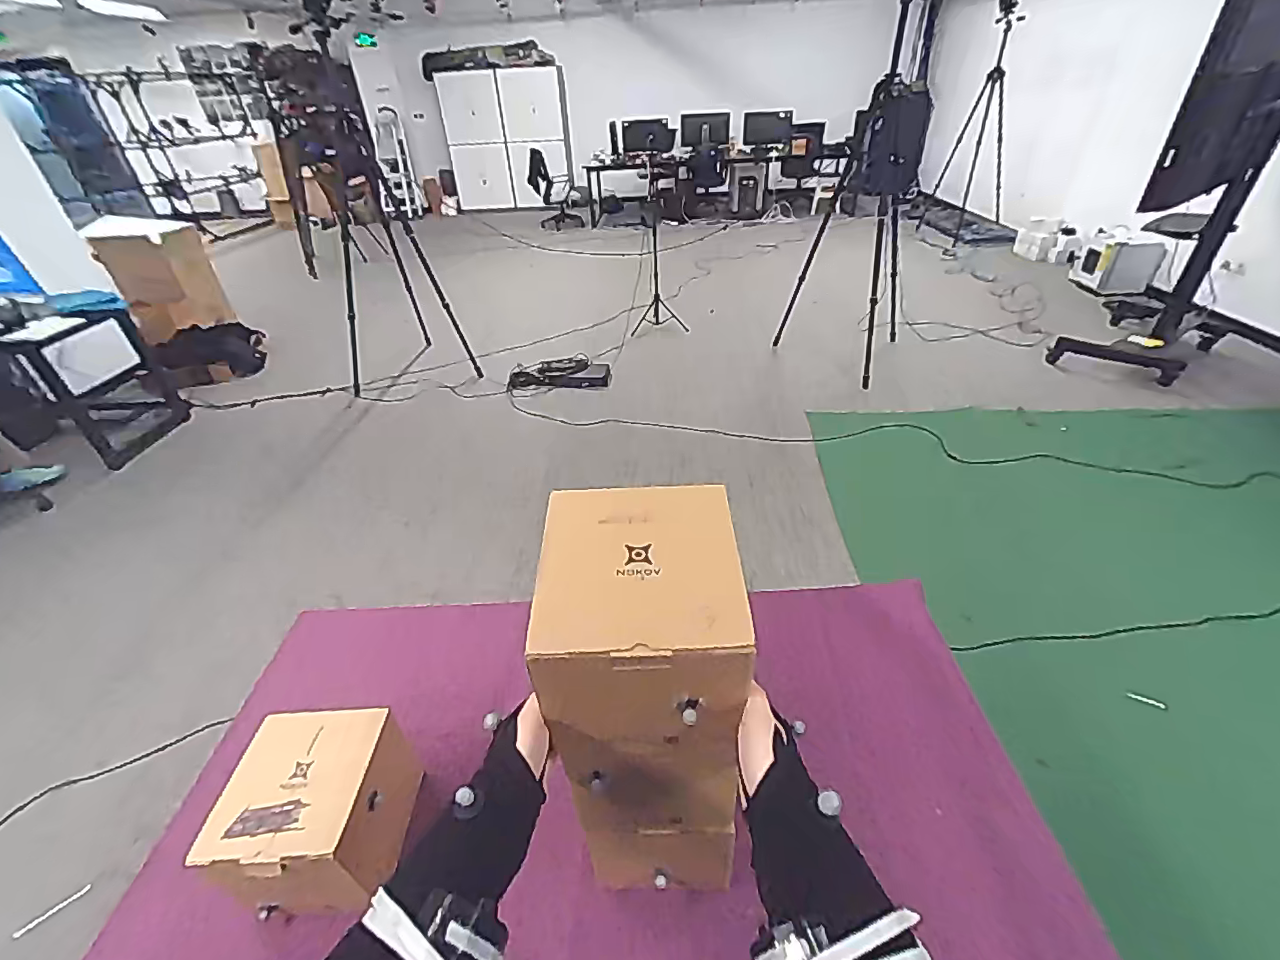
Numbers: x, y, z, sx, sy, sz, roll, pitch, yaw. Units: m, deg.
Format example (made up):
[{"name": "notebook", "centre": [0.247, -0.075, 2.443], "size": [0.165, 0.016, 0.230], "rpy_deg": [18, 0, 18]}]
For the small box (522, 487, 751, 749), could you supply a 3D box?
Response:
[{"name": "small box", "centre": [0.001, 0.127, 0.491], "size": [0.168, 0.176, 0.179], "rpy_deg": [-2, 41, 1]}]

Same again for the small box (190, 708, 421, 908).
[{"name": "small box", "centre": [-0.405, 0.424, 0.698], "size": [0.168, 0.176, 0.179], "rpy_deg": [-3, 35, 0]}]

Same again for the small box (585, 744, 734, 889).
[{"name": "small box", "centre": [0.028, 0.392, 0.699], "size": [0.168, 0.176, 0.179], "rpy_deg": [-2, 36, 4]}]
